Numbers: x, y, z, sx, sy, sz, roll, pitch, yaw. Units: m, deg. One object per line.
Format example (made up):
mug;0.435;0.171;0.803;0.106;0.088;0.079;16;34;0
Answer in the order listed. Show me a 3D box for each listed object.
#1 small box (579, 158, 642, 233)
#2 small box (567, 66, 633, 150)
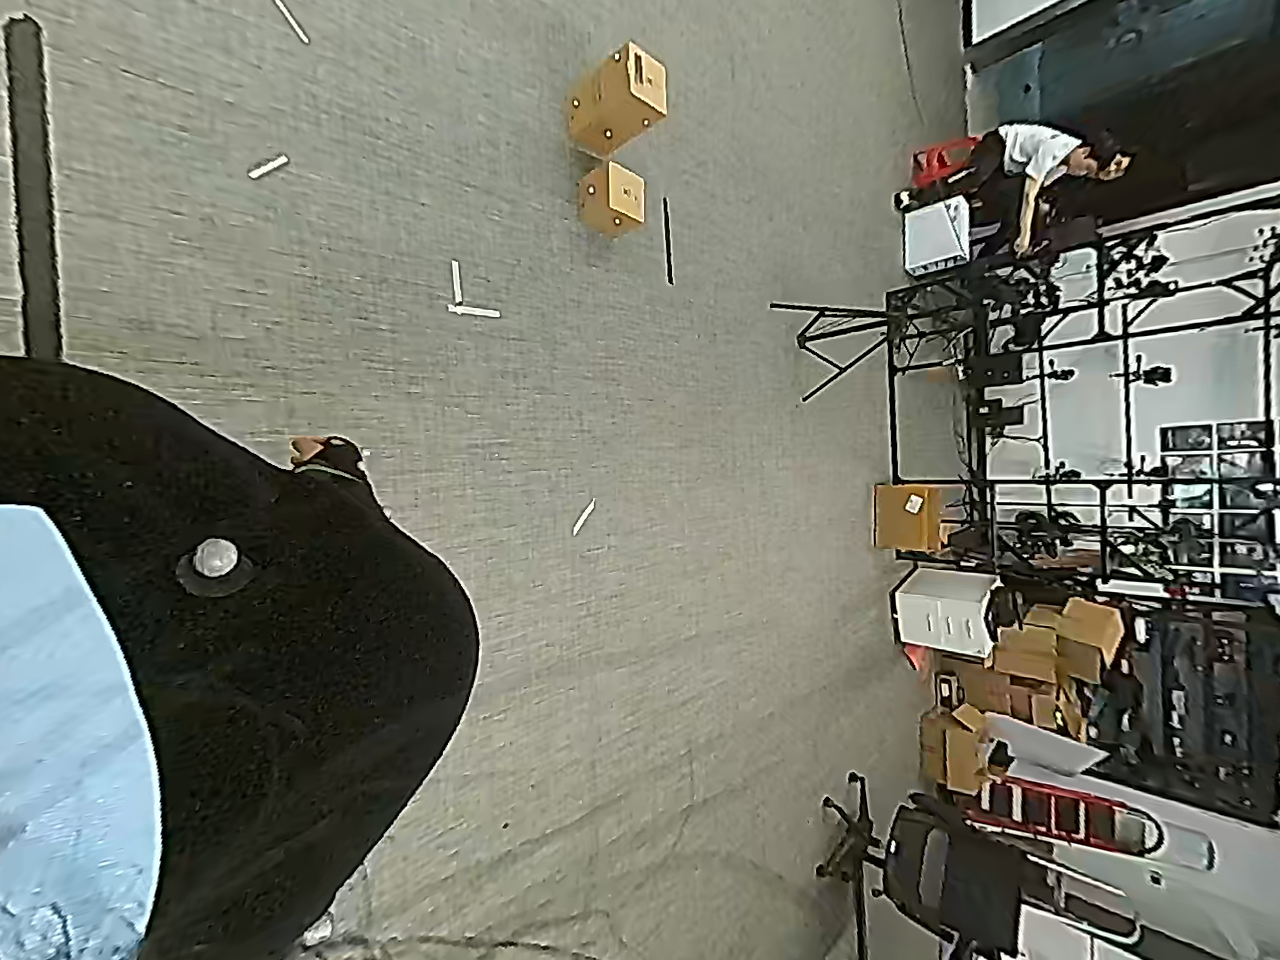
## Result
small box;-0.110;-1.030;1.975;0.179;0.176;0.168;0;90;-45
small box;-0.145;-1.327;1.948;0.179;0.176;0.168;-1;90;-45
